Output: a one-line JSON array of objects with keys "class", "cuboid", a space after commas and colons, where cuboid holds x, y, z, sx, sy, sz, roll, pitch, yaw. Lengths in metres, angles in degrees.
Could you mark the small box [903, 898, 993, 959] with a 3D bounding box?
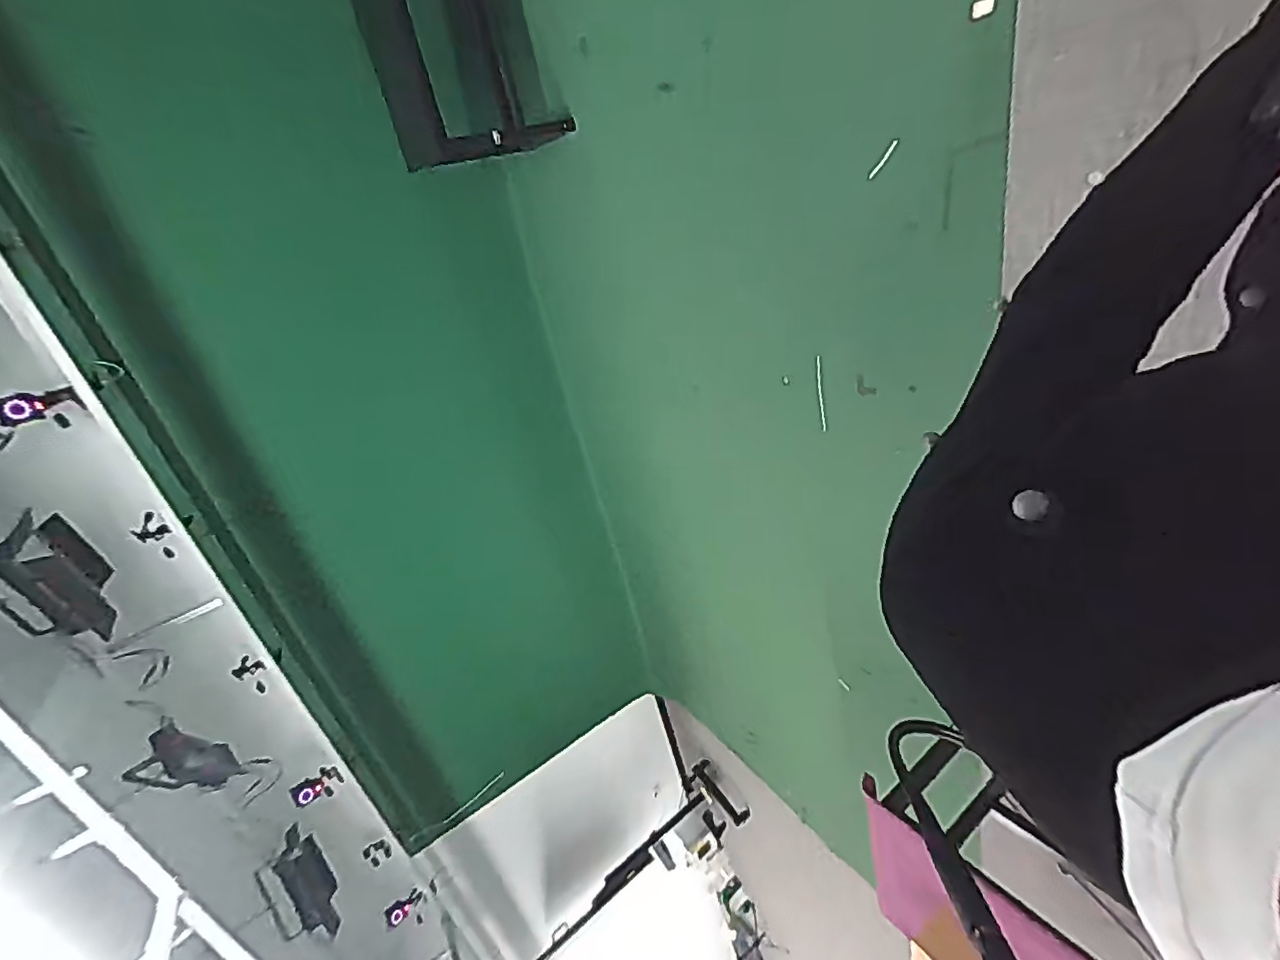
[{"class": "small box", "cuboid": [0.879, 1.364, 1.545, 0.168, 0.176, 0.179, 23, 134, 52]}]
